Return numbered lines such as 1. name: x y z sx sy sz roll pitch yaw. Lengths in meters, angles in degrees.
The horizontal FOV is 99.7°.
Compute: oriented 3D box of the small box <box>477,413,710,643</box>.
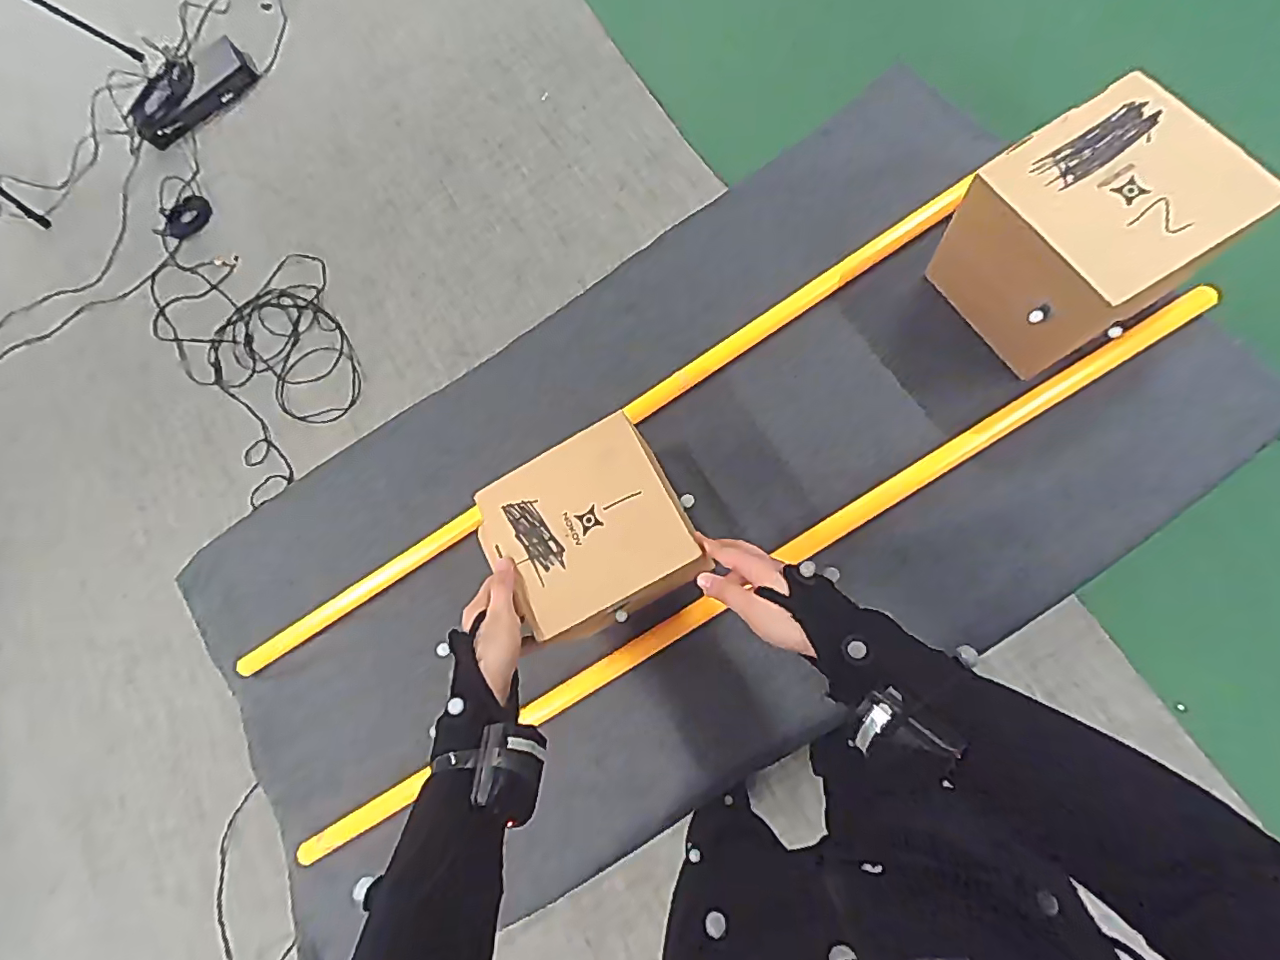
1. small box: -0.038 0.060 0.589 0.179 0.176 0.168 -29 74 4
